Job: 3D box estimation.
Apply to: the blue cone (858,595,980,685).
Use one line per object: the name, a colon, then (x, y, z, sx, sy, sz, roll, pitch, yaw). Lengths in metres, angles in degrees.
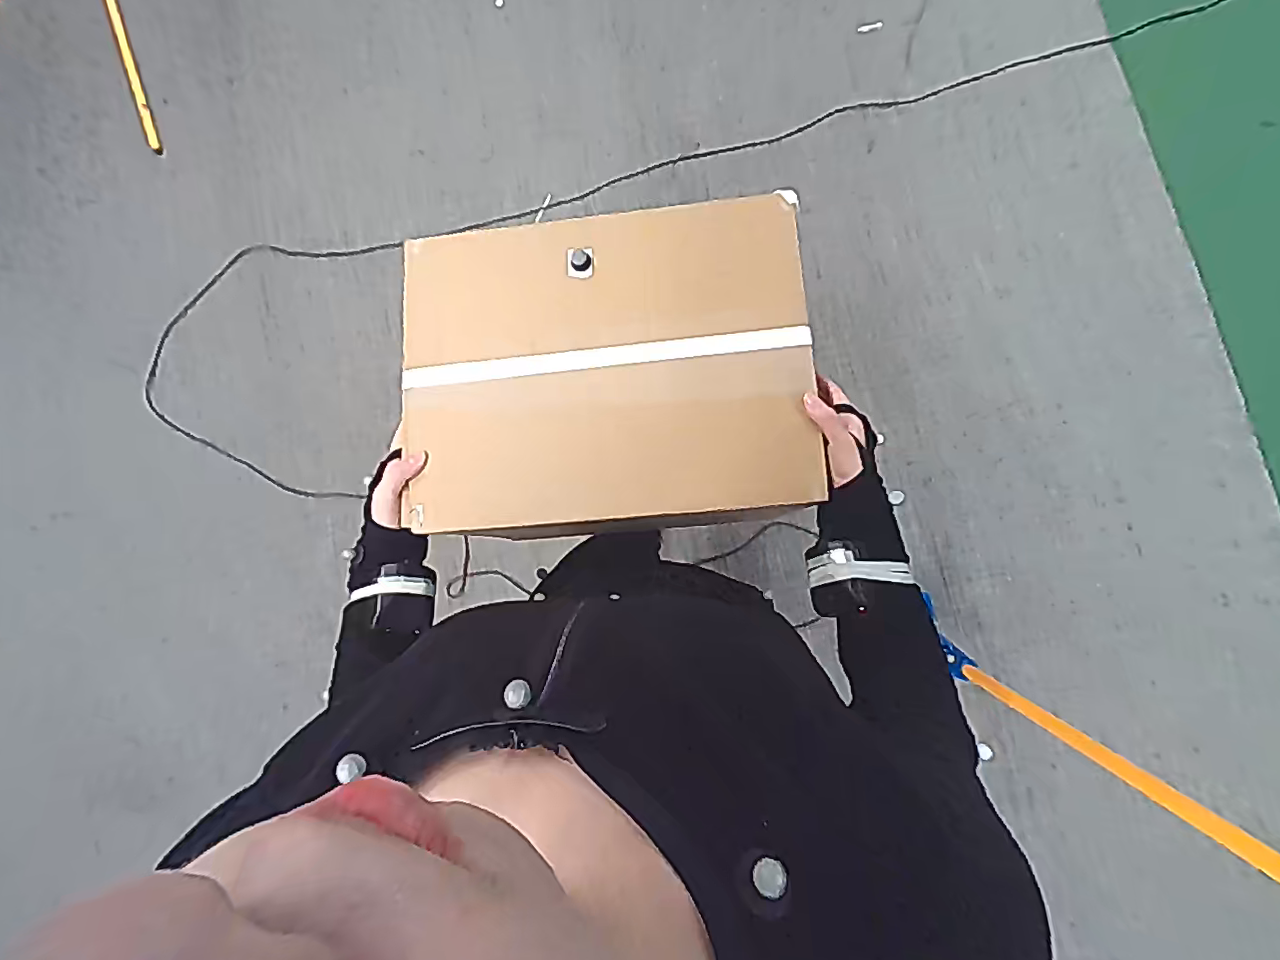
blue cone: (0.659, 0.386, 1.217, 0.192, 0.380, 0.193, -15, 84, 4)
